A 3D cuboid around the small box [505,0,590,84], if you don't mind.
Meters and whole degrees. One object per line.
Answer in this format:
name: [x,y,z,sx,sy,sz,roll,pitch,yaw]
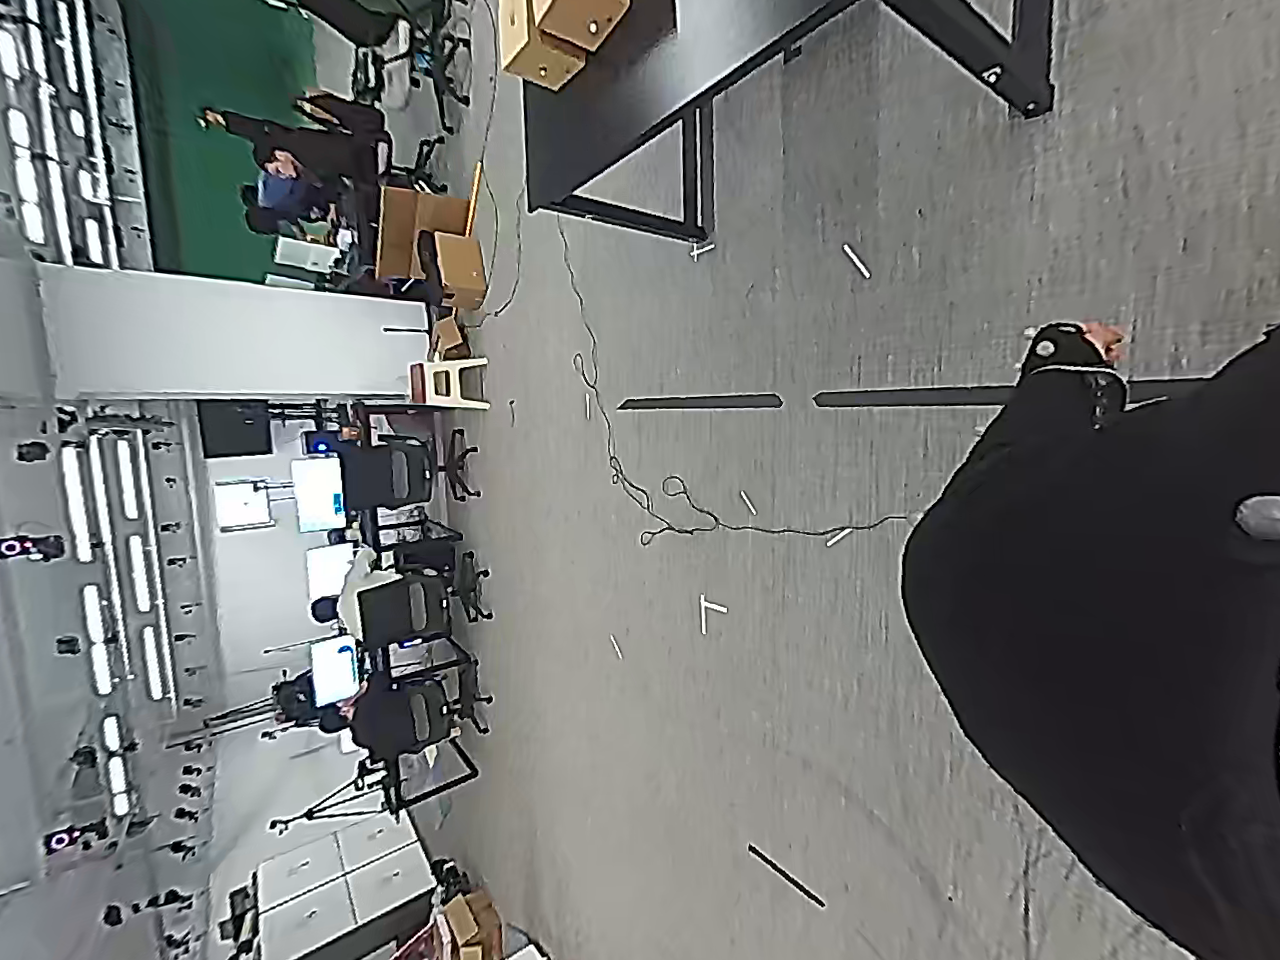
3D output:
small box: [-0.243,-1.180,1.421,0.168,0.176,0.179,13,105,52]
